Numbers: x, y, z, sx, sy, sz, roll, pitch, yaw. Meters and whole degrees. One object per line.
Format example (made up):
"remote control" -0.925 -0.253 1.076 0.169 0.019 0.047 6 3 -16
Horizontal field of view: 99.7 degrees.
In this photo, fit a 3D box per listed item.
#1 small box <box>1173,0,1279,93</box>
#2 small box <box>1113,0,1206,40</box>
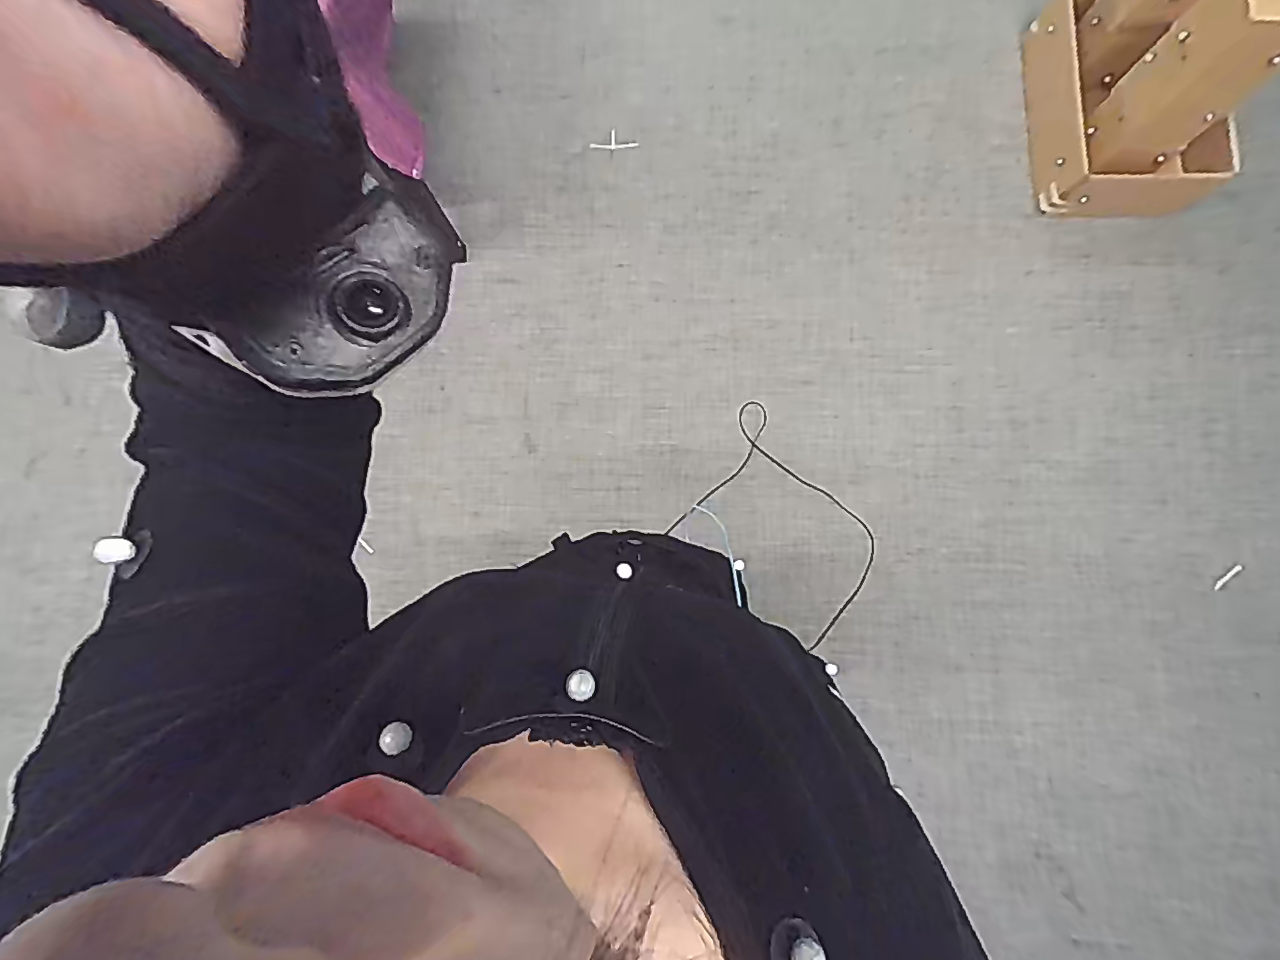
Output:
"small box" 1.321 -0.979 1.169 0.179 0.176 0.168 3 82 2
"small box" 1.348 -1.263 1.366 0.179 0.176 0.168 7 84 1
